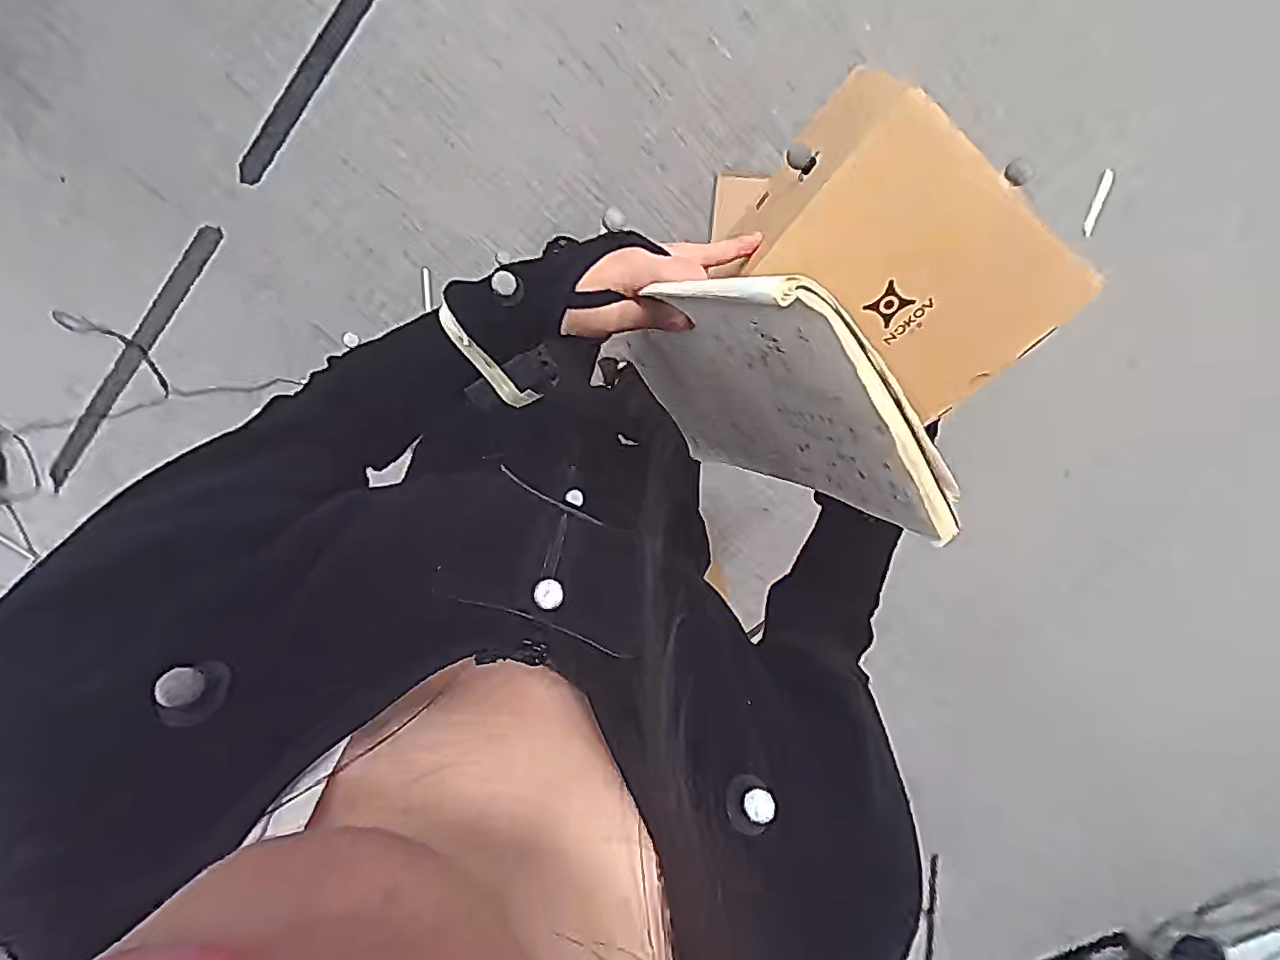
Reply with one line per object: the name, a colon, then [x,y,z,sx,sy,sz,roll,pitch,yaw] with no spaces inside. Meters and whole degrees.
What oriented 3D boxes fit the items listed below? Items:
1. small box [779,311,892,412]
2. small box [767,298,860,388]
small box: [0.399,-0.254,1.138,0.168,0.176,0.179,2,117,1]
small box: [0.403,-0.327,1.286,0.168,0.176,0.179,1,117,1]
